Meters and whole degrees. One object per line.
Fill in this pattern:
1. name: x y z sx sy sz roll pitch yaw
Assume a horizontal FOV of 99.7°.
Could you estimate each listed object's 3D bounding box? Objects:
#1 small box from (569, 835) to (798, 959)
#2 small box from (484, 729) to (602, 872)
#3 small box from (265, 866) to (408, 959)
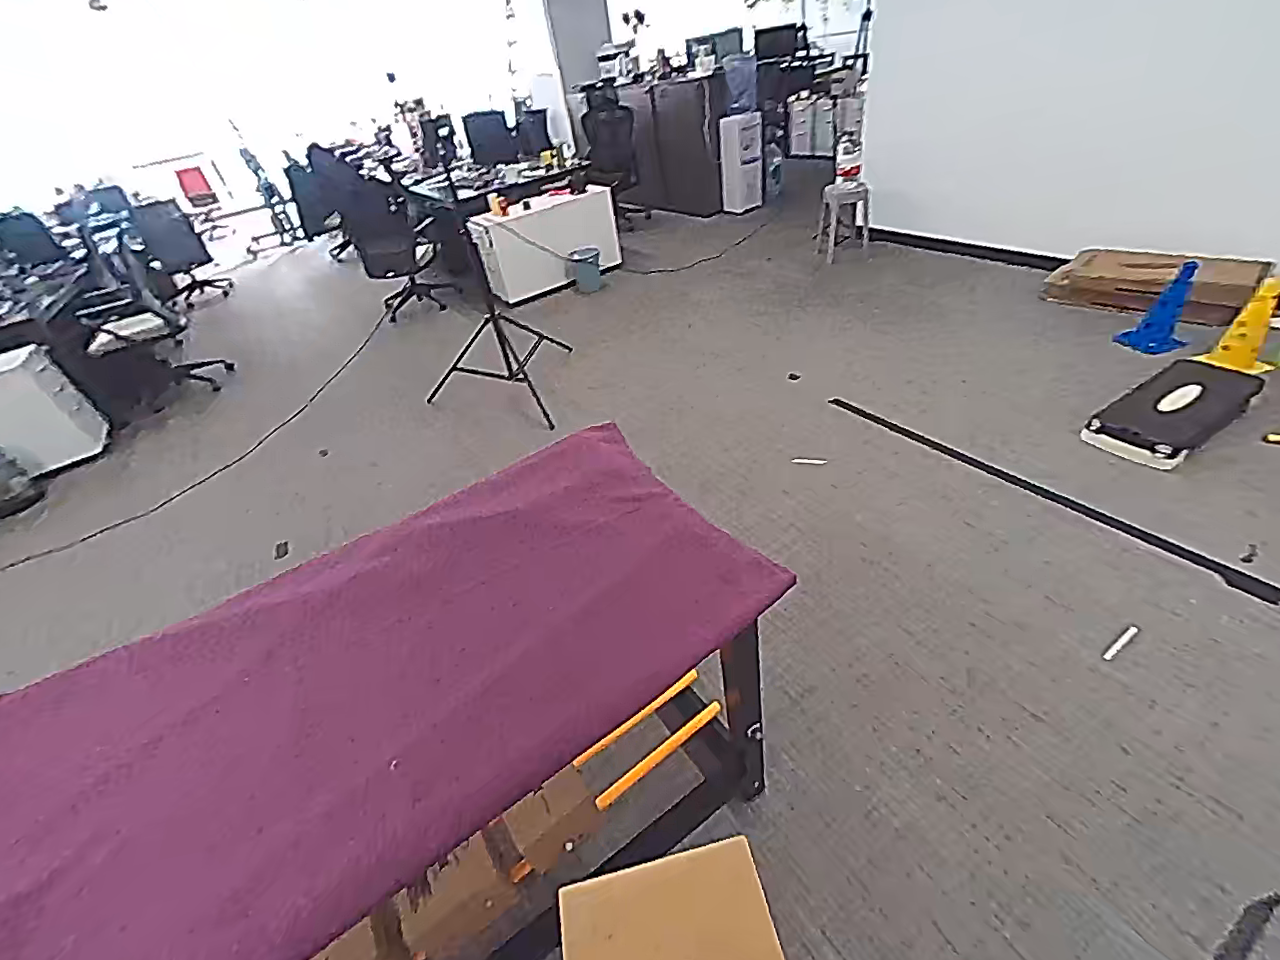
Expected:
1. small box: 0.044 0.428 0.429 0.168 0.176 0.179 -12 38 -5
2. small box: -0.202 0.680 1.148 0.168 0.176 0.179 -31 45 -21
3. small box: -0.551 0.869 0.993 0.168 0.176 0.179 -28 44 -21
